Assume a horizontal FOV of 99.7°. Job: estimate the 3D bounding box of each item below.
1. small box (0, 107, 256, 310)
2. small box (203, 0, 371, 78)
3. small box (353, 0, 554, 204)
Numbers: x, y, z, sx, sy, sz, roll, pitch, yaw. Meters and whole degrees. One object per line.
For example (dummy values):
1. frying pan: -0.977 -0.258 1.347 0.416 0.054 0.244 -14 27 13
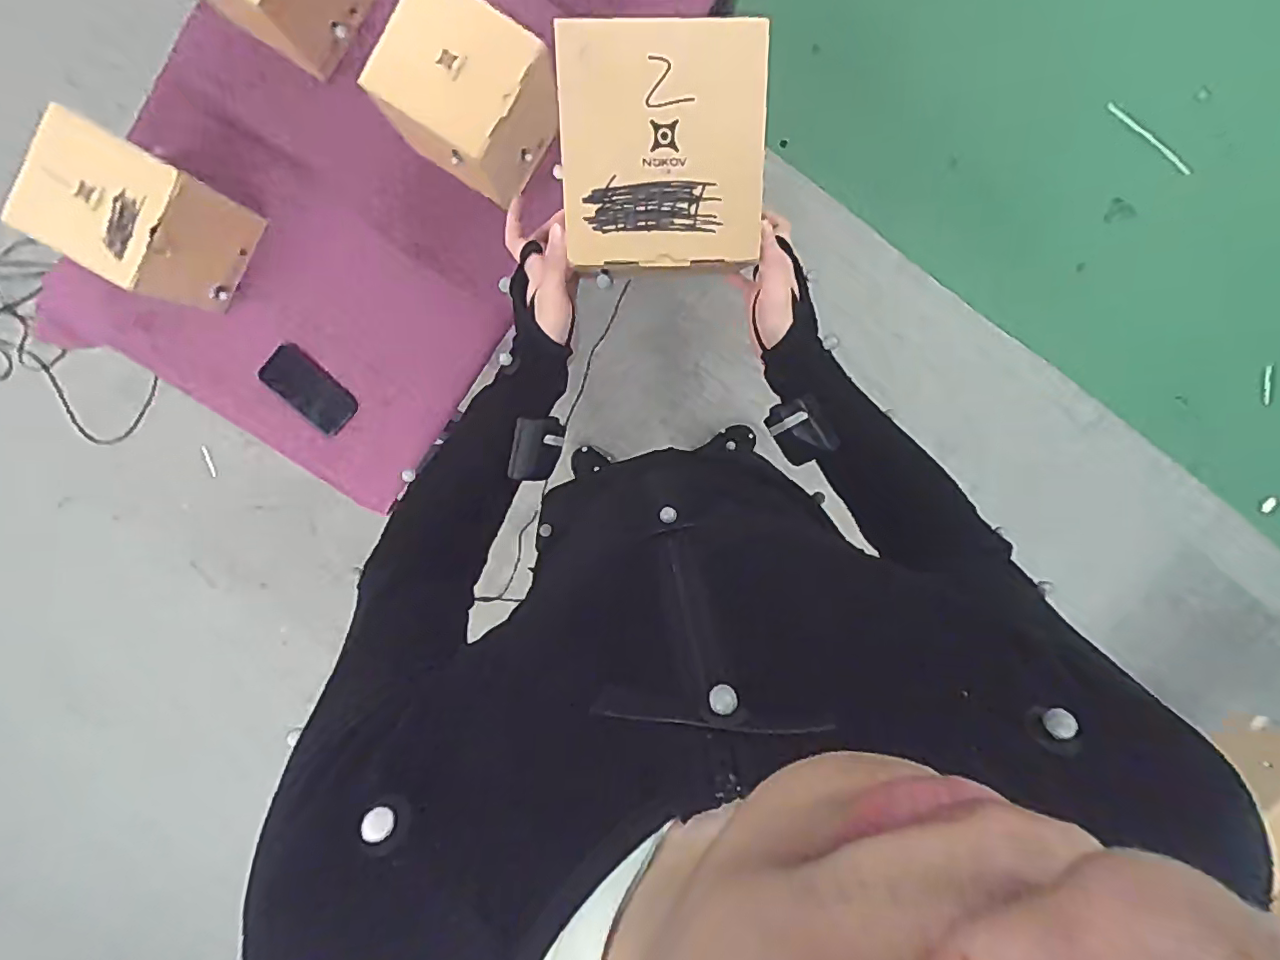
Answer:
1. small box: -0.693 -0.356 0.753 0.179 0.176 0.168 29 95 -3
2. small box: -0.504 -0.694 0.719 0.179 0.176 0.168 33 96 -5
3. small box: -0.240 -0.519 0.742 0.179 0.176 0.168 31 95 -4
